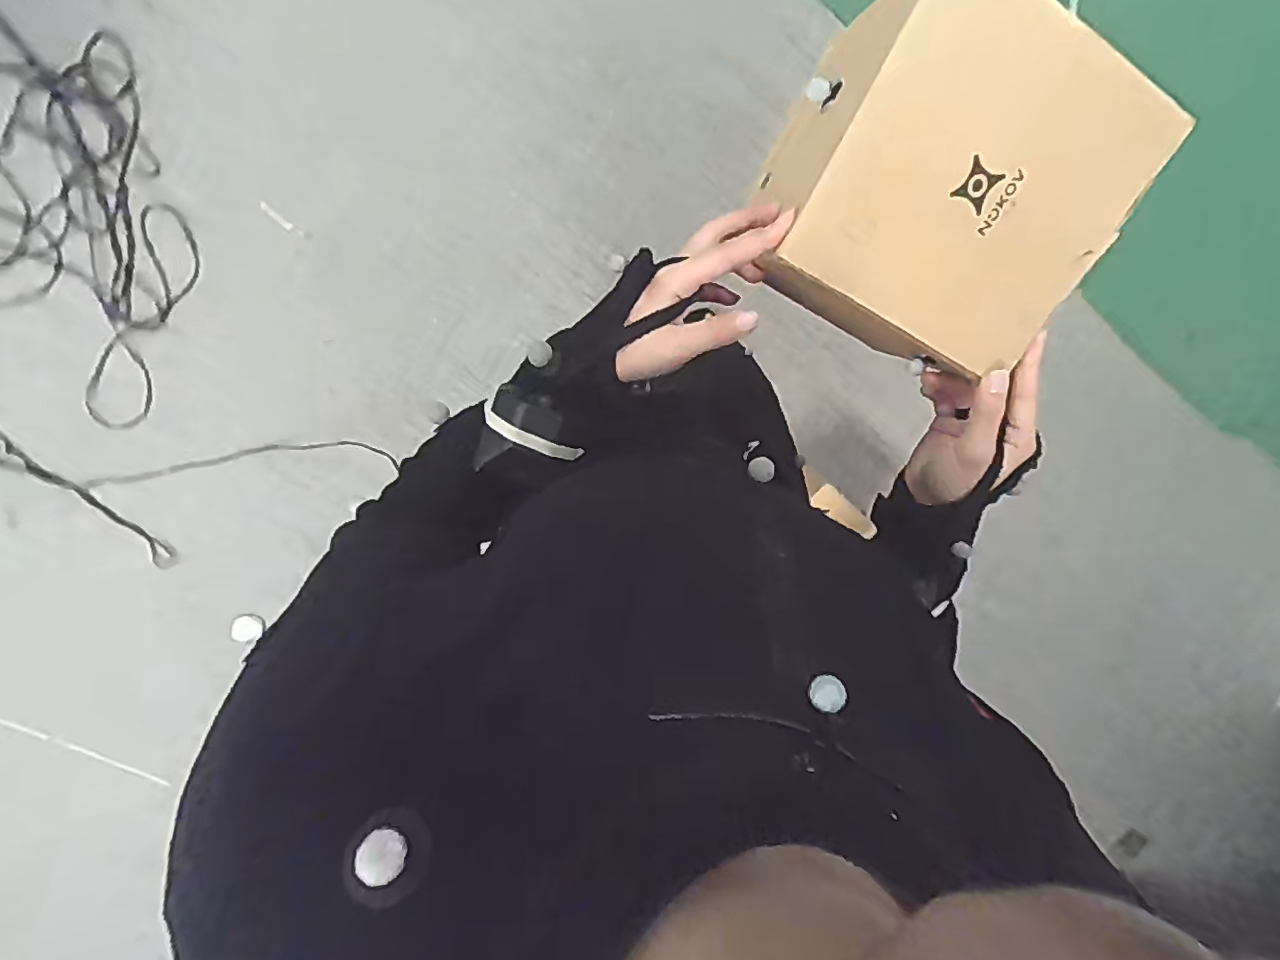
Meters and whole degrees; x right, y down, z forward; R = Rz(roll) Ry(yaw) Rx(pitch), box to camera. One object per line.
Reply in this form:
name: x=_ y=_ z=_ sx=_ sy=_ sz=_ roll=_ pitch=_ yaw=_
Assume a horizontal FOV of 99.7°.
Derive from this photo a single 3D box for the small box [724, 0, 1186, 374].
small box: x=0.180 y=-0.195 z=0.372 sx=0.179 sy=0.176 sz=0.168 roll=22 pitch=109 yaw=-14
